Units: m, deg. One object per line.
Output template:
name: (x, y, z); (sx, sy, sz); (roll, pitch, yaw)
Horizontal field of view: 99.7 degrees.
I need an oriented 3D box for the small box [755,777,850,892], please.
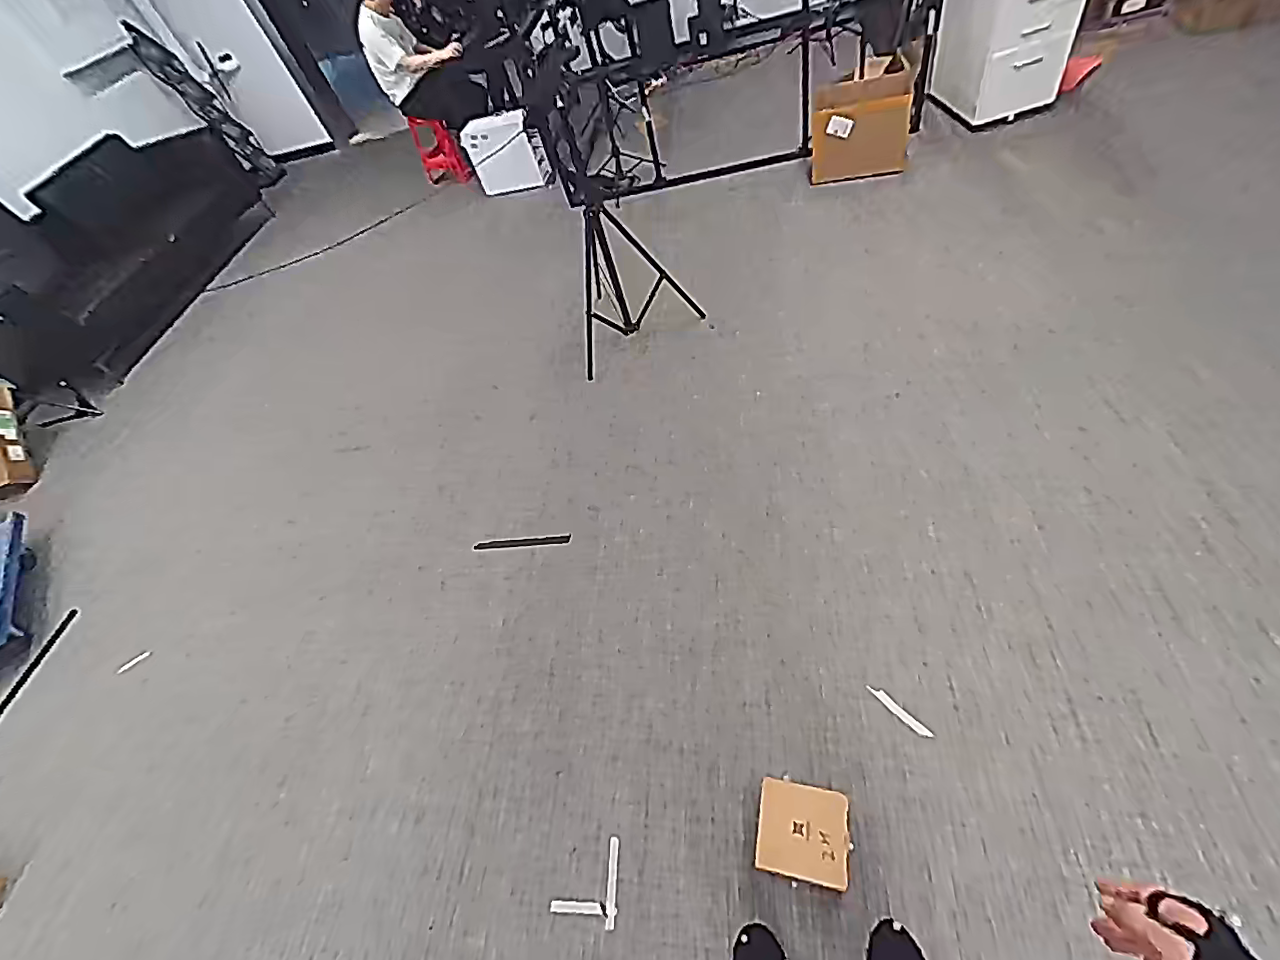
small box: (0.348, 0.755, 1.148); (0.179, 0.176, 0.168); (3, 55, 19)
